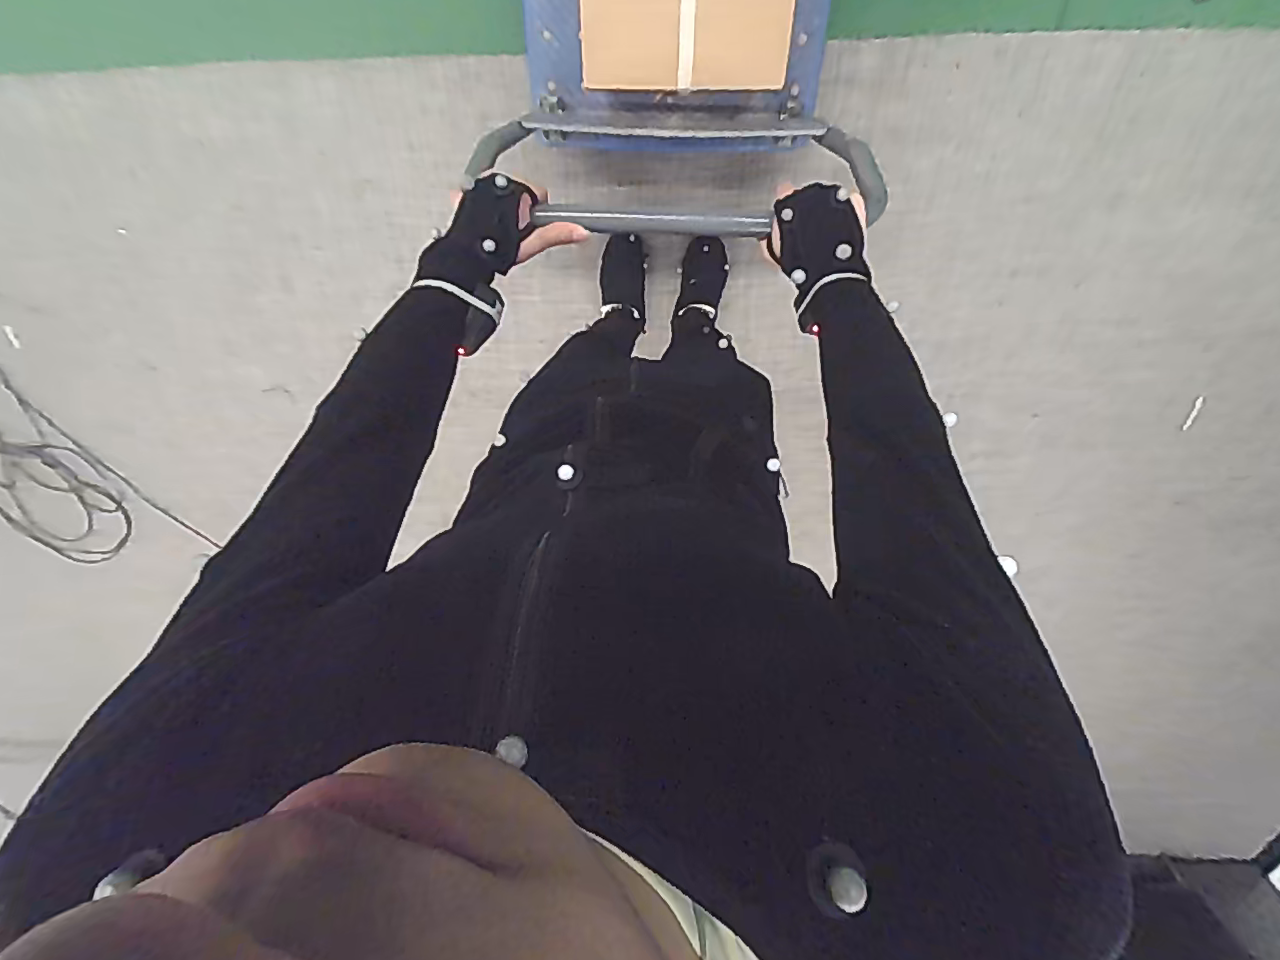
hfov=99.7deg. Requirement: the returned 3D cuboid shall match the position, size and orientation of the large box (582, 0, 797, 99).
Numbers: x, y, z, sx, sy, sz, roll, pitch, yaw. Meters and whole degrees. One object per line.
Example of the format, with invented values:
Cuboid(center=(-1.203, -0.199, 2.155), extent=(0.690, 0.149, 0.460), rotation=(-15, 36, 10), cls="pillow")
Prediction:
Cuboid(center=(0.081, -0.854, 0.855), extent=(0.320, 0.320, 0.408), rotation=(2, 125, 2), cls="large box")
